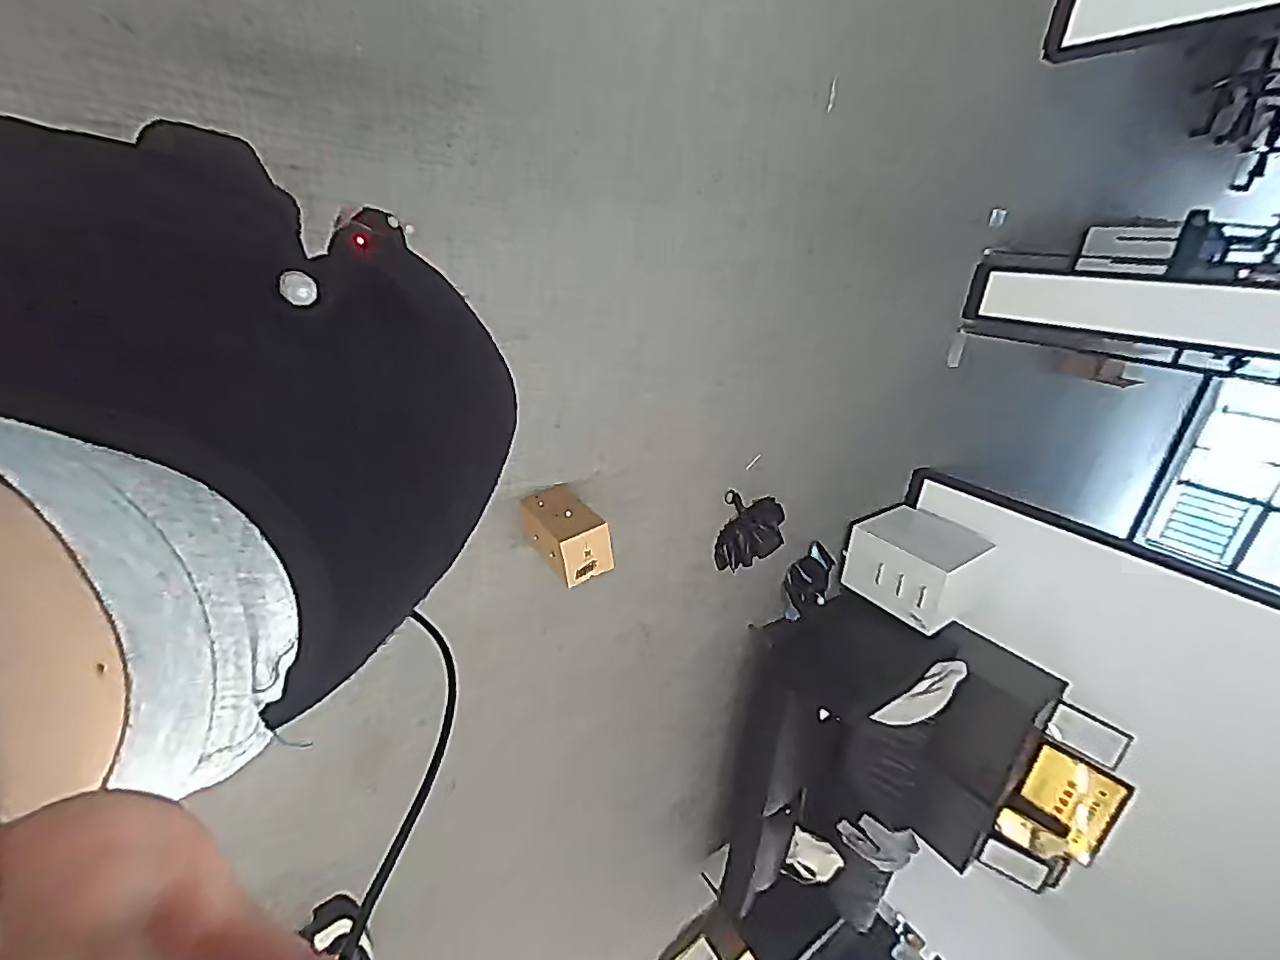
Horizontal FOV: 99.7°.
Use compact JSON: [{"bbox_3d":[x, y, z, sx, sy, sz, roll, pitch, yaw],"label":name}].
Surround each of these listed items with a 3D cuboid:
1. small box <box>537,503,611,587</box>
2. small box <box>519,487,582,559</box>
[{"bbox_3d":[-0.209,0.202,1.712,0.168,0.176,0.179,-22,122,-27],"label":"small box"},{"bbox_3d":[-0.297,0.142,1.838,0.168,0.176,0.179,-23,125,-26],"label":"small box"}]
